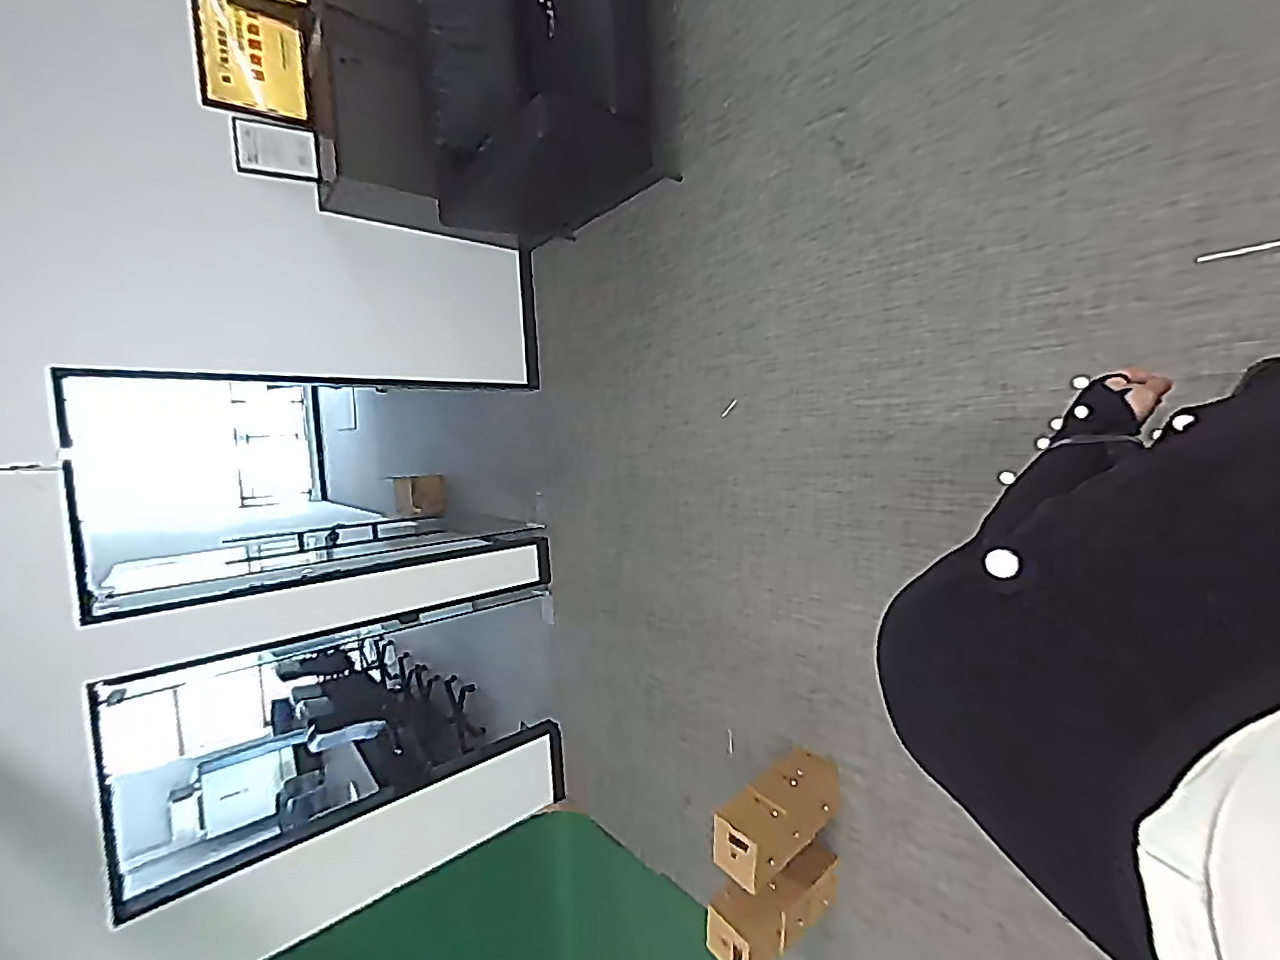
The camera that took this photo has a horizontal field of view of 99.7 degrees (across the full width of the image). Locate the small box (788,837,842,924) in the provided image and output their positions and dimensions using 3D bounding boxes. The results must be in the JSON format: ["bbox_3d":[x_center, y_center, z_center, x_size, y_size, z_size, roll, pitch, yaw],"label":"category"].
[{"bbox_3d":[0.610,1.432,1.959,0.179,0.176,0.168,10,102,51],"label":"small box"}]

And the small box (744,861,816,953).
[{"bbox_3d":[0.481,1.439,1.853,0.179,0.176,0.168,11,103,50],"label":"small box"}]

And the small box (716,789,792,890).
[{"bbox_3d":[0.362,1.122,1.707,0.168,0.176,0.179,12,105,49],"label":"small box"}]

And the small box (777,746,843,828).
[{"bbox_3d":[0.606,1.090,1.922,0.168,0.176,0.179,6,99,50],"label":"small box"}]

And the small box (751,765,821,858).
[{"bbox_3d":[0.487,1.102,1.810,0.168,0.176,0.179,9,101,50],"label":"small box"}]
